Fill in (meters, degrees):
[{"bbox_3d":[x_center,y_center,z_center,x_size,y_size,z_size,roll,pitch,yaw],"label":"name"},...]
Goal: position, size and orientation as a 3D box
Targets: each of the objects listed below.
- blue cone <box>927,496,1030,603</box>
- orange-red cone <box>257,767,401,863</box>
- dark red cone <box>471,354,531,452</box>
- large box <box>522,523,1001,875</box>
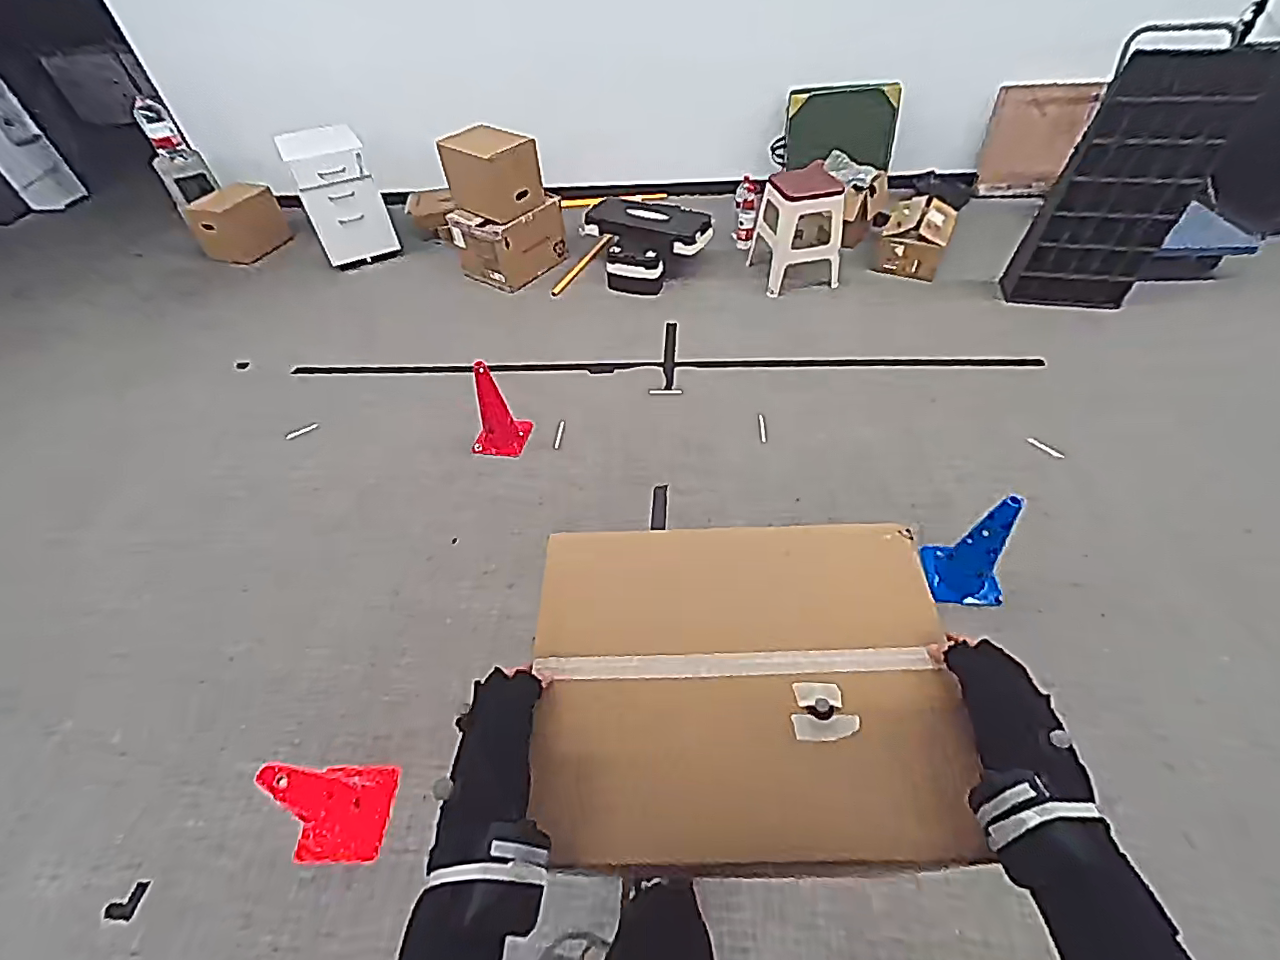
[{"bbox_3d":[0.976,0.177,1.521,0.192,0.380,0.193,4,49,6],"label":"blue cone"},{"bbox_3d":[-0.702,0.687,1.166,0.198,0.360,0.199,-2,49,4],"label":"orange-red cone"},{"bbox_3d":[-0.551,-0.293,2.008,0.201,0.394,0.202,6,49,8],"label":"dark red cone"},{"bbox_3d":[0.101,0.270,0.650,0.408,0.320,0.320,-2,52,2],"label":"large box"}]
